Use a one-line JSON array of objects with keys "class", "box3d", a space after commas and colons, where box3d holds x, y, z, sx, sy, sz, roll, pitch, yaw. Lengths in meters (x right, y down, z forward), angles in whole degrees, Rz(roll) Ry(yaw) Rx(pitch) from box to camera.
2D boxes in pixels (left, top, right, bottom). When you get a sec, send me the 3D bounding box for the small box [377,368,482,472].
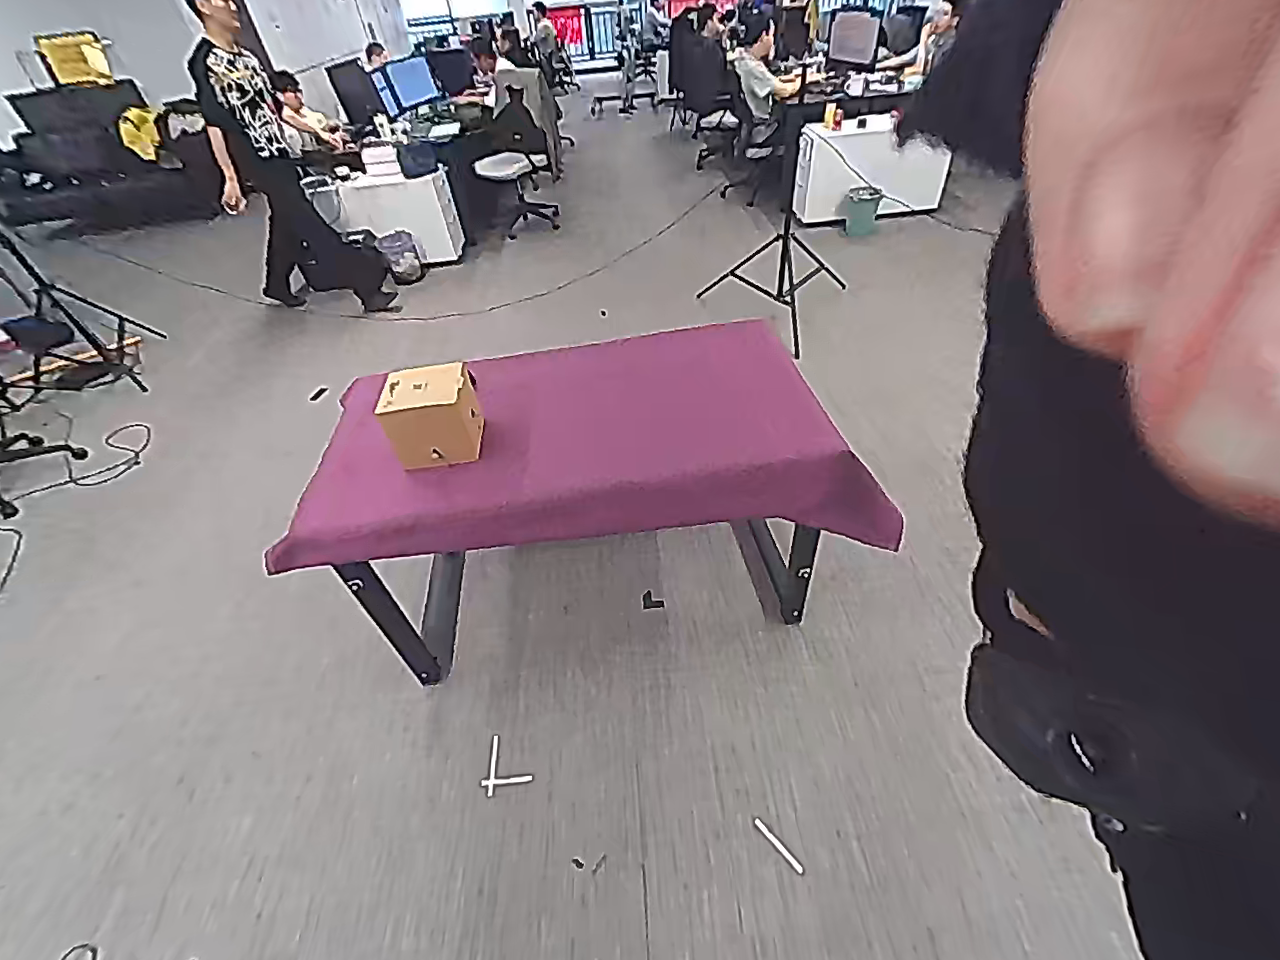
[{"class": "small box", "box3d": [-0.477, -0.139, 1.260, 0.179, 0.176, 0.168, -8, 43, -3]}]
